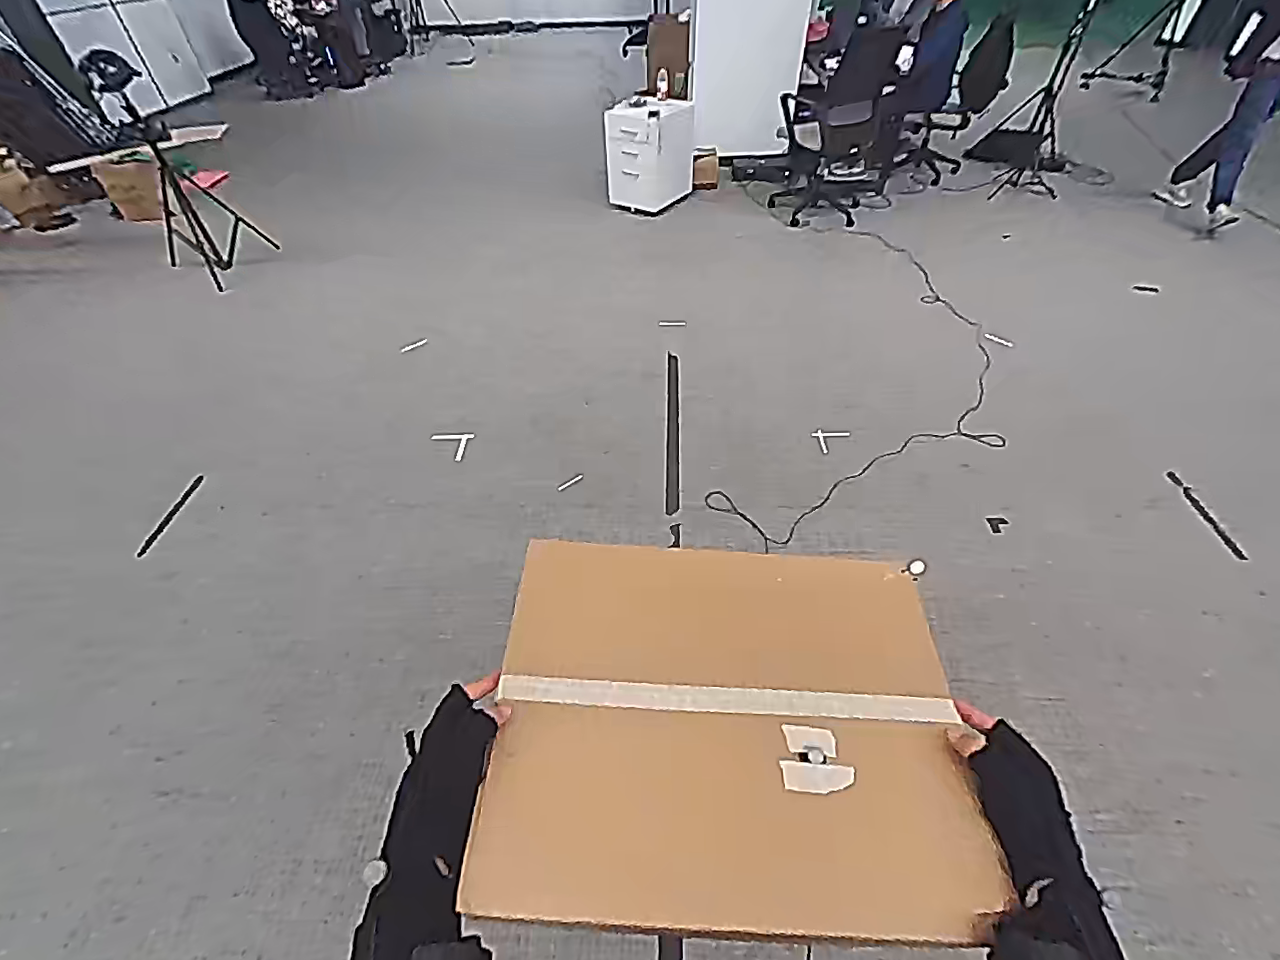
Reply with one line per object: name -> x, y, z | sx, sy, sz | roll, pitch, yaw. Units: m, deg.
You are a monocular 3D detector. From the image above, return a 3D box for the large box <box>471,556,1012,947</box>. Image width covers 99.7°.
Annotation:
large box -> 0.070, 0.304, 0.596 | 0.408, 0.320, 0.320 | 4, 50, -1
